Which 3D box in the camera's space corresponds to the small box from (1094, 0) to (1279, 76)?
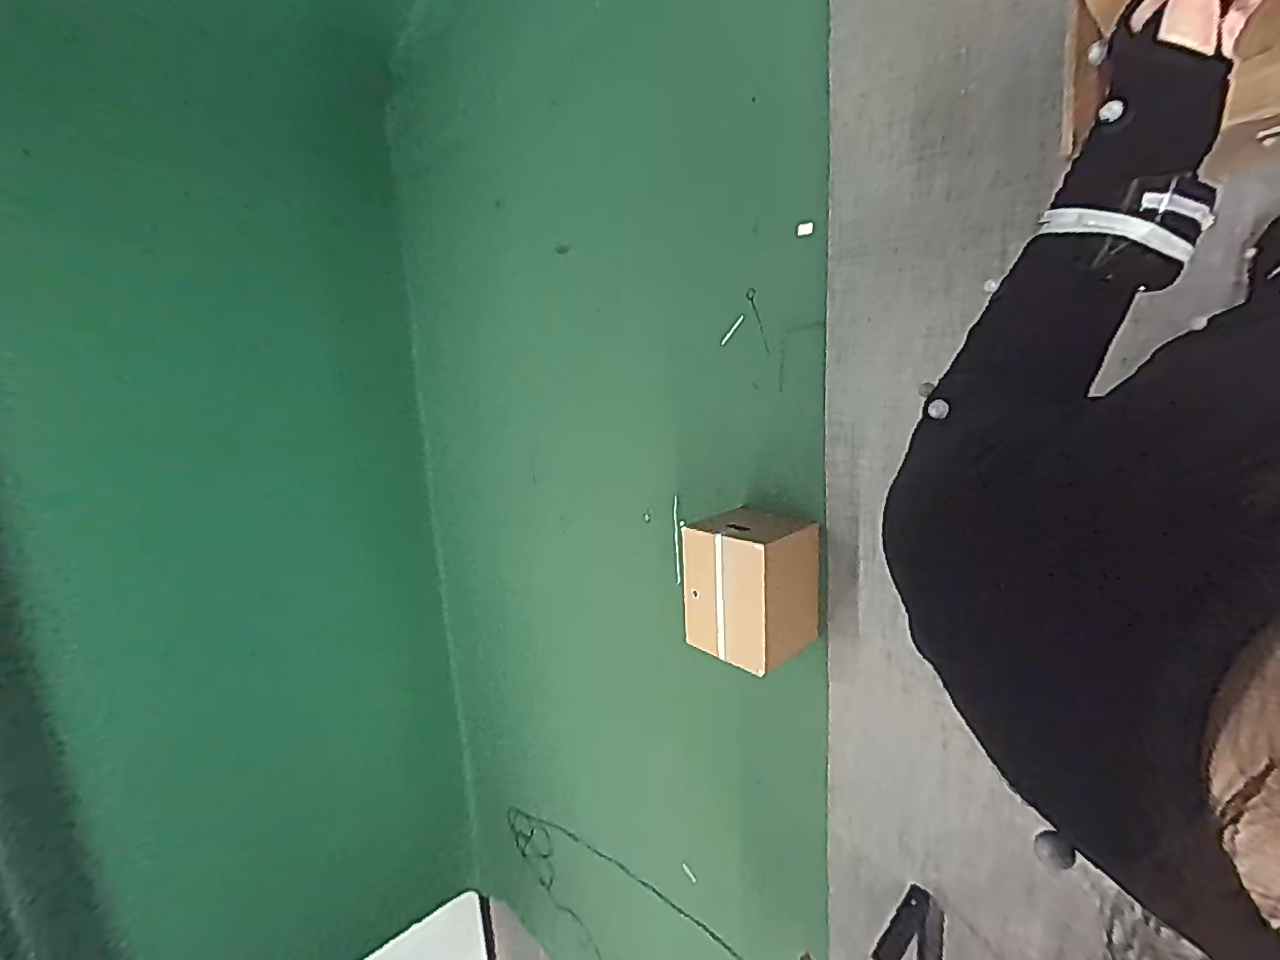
[{"bbox_3d":[0.451,-0.436,0.378,0.168,0.176,0.179,4,81,57],"label":"small box"}]
